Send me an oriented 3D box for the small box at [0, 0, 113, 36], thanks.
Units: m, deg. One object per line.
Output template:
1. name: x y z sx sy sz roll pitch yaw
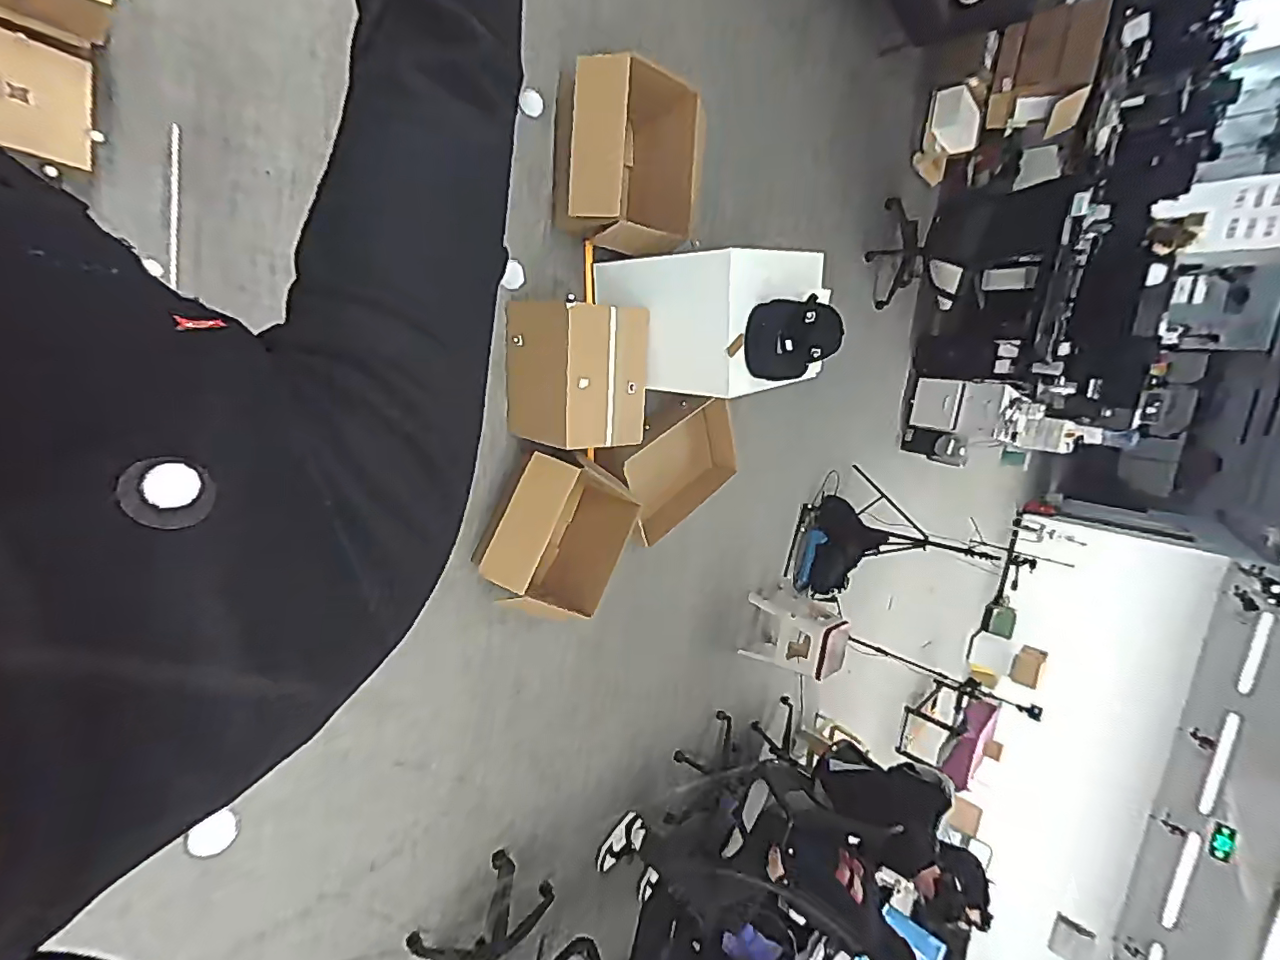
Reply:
1. small box: -0.852 -0.754 0.737 0.179 0.176 0.168 -4 104 -47
